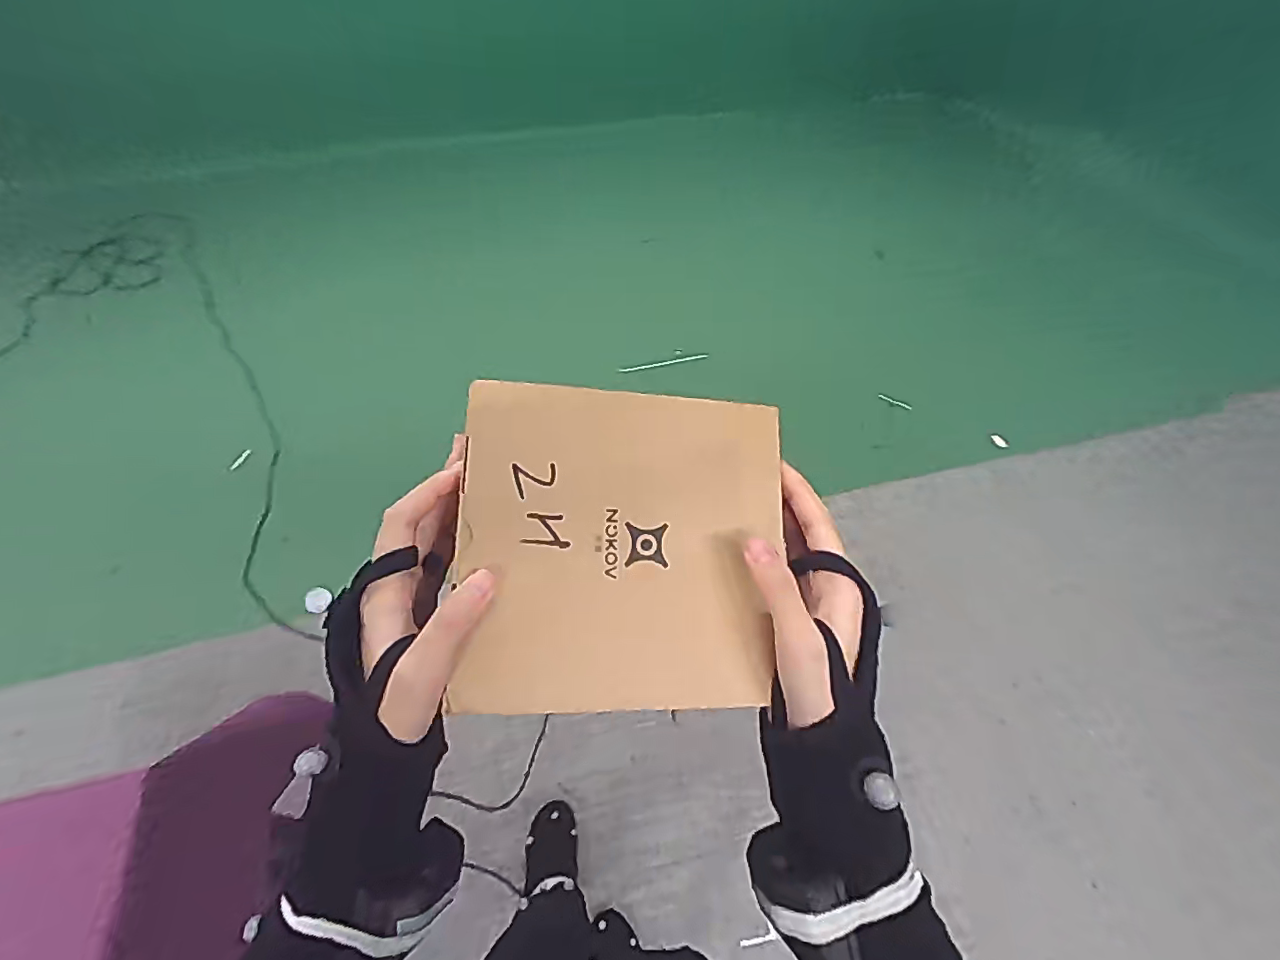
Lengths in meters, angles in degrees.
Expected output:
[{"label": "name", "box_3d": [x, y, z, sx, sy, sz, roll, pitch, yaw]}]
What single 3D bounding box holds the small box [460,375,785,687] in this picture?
[{"label": "small box", "box_3d": [-0.017, 0.045, 0.377, 0.179, 0.176, 0.168, 5, 76, -10]}]
